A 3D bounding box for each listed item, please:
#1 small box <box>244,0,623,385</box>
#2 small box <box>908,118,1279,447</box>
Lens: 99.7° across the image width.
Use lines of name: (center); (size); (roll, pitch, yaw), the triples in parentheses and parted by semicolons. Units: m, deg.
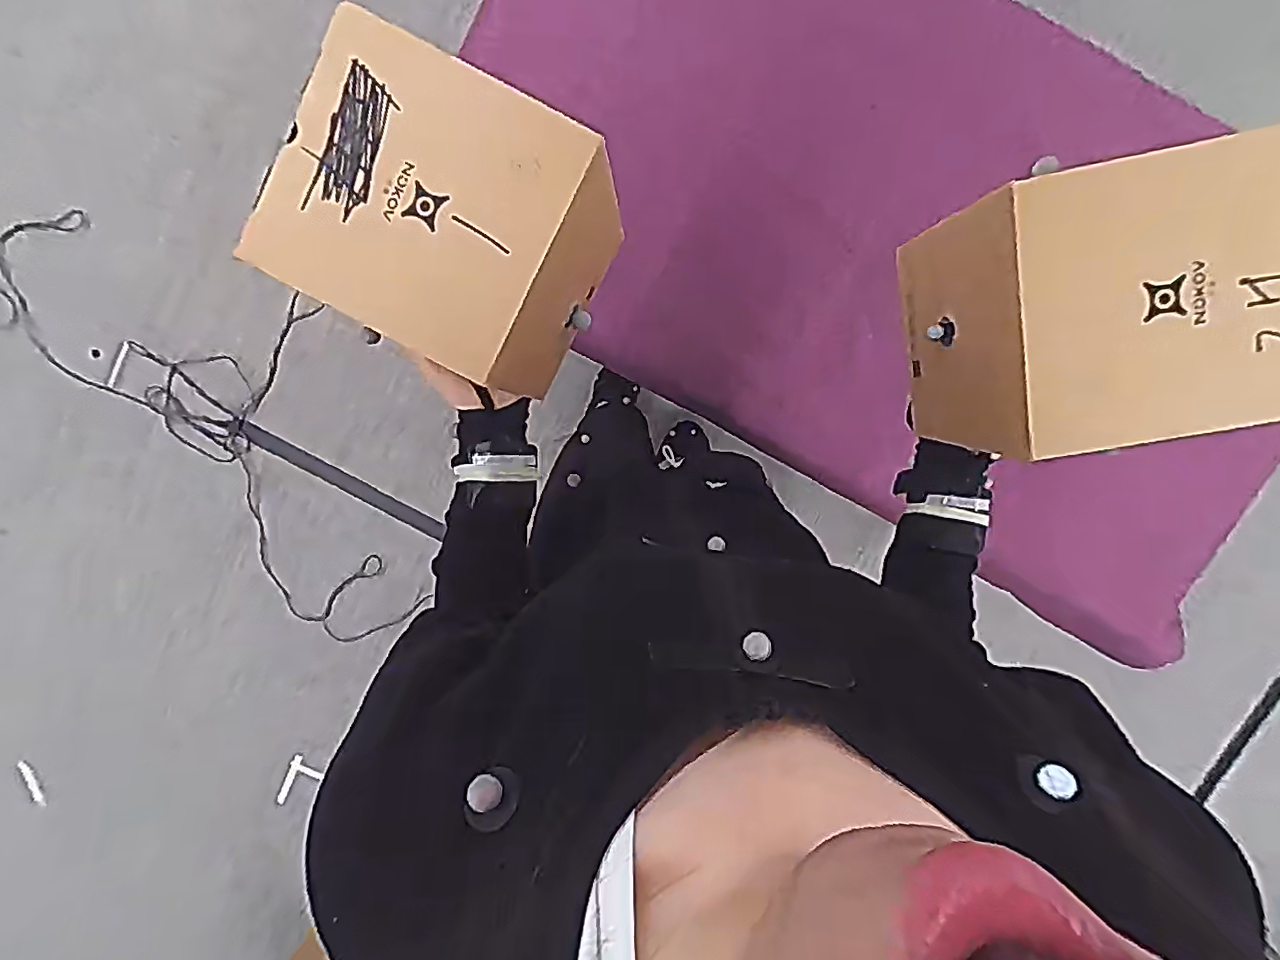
small box: (-0.127, -0.181, 0.403); (0.179, 0.176, 0.168); (28, 96, -1)
small box: (0.315, -0.125, 0.393); (0.179, 0.176, 0.168); (-10, 100, 5)
